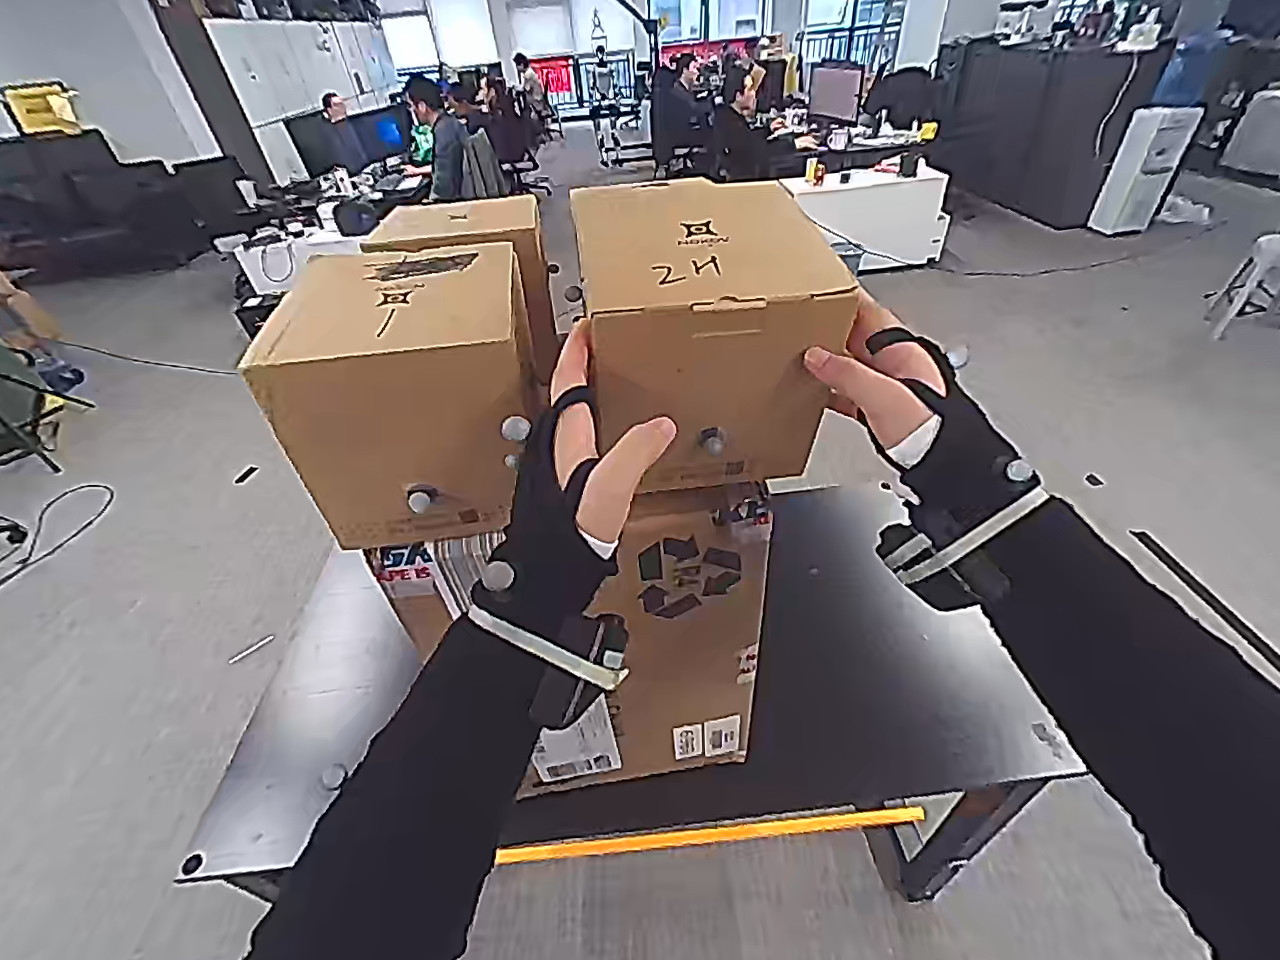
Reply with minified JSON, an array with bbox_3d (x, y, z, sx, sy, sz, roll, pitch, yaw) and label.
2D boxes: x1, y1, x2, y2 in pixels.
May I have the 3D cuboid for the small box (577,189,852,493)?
[{"bbox_3d":[0.039,-0.112,0.437,0.168,0.176,0.179,-6,49,-4],"label":"small box"}]
